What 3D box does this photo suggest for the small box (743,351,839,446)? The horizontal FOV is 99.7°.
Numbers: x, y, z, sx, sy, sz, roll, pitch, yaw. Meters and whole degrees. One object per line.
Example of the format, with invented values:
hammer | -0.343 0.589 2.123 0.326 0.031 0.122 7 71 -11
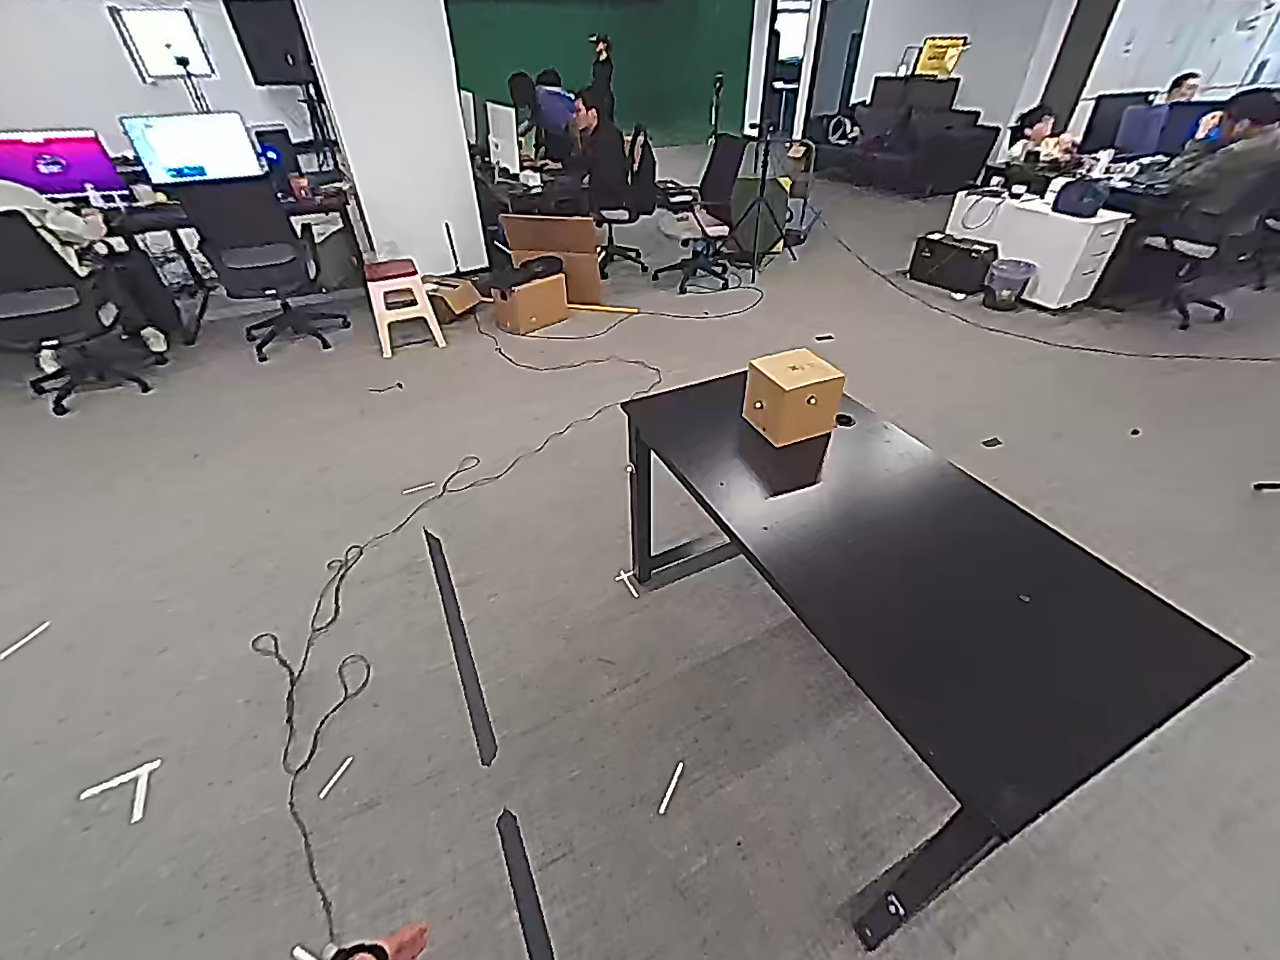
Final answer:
small box | 0.380 -0.208 1.396 0.179 0.176 0.168 -16 41 -18
